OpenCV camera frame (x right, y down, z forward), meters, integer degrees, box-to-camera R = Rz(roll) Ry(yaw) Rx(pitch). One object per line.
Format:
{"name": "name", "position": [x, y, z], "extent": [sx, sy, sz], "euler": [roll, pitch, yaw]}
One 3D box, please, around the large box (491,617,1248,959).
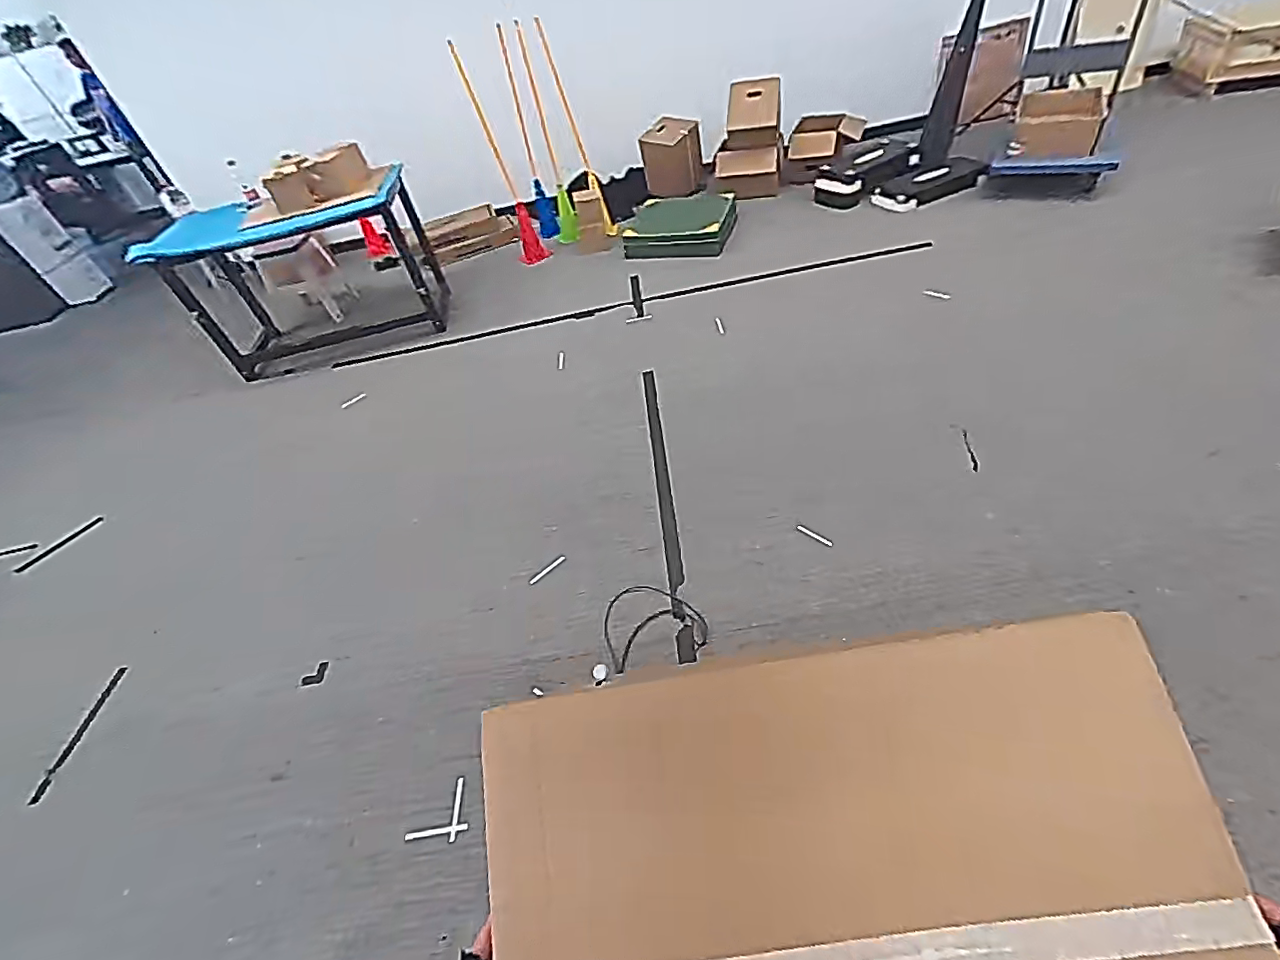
{"name": "large box", "position": [0.135, 0.312, 0.442], "extent": [0.408, 0.320, 0.320], "euler": [-11, 72, 5]}
